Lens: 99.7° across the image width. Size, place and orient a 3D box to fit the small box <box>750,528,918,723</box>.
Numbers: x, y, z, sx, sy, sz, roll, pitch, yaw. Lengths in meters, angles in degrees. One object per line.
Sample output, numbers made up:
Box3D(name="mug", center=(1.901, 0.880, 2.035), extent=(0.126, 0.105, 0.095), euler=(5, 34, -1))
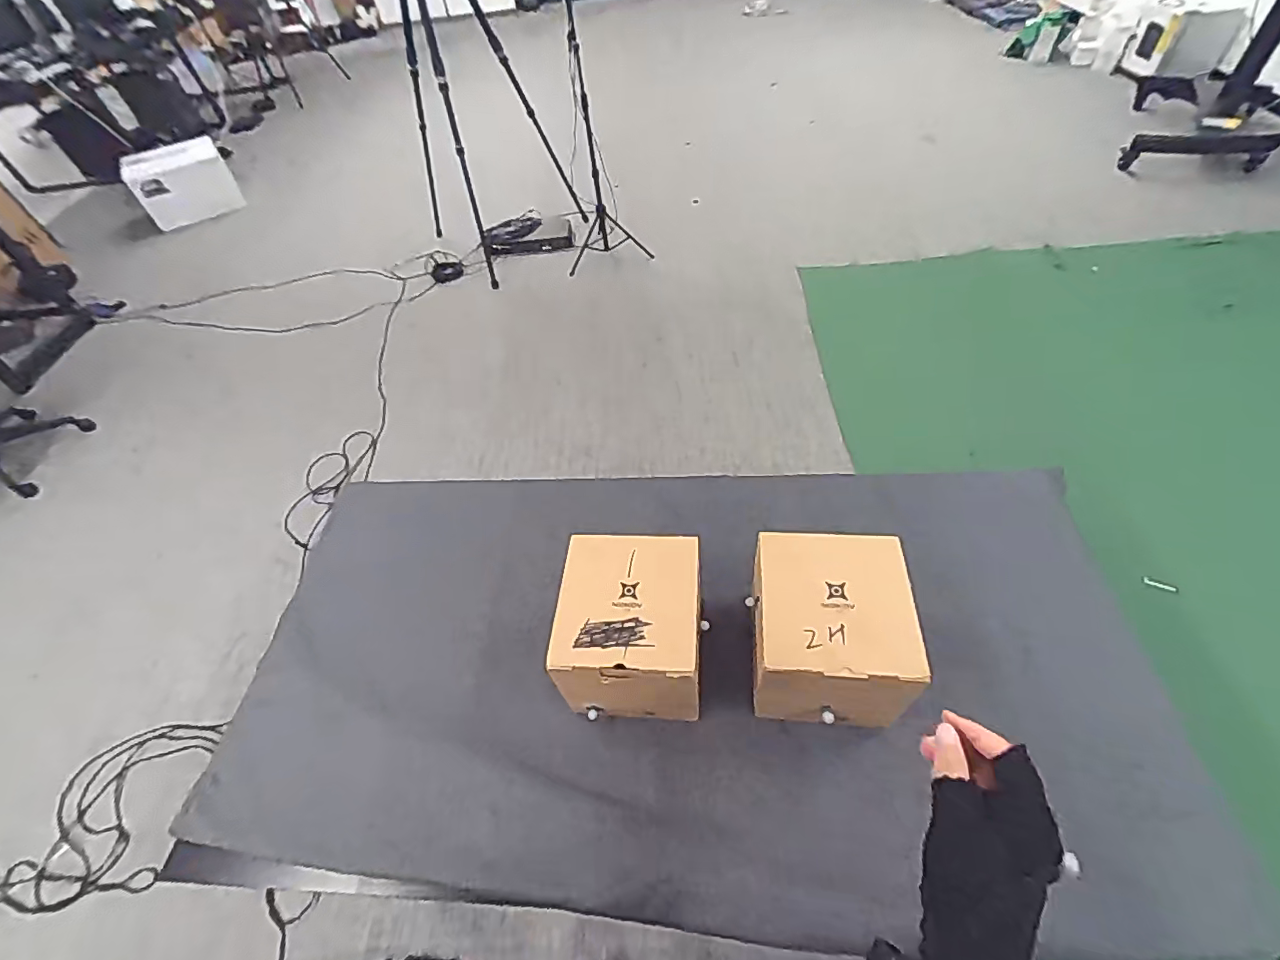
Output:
Box3D(name="small box", center=(0.226, 0.182, 0.675), extent=(0.168, 0.176, 0.179), euler=(3, 54, 11))

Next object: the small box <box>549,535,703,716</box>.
Box3D(name="small box", center=(-0.004, 0.190, 0.696), extent=(0.168, 0.176, 0.179), euler=(0, 50, 8))
